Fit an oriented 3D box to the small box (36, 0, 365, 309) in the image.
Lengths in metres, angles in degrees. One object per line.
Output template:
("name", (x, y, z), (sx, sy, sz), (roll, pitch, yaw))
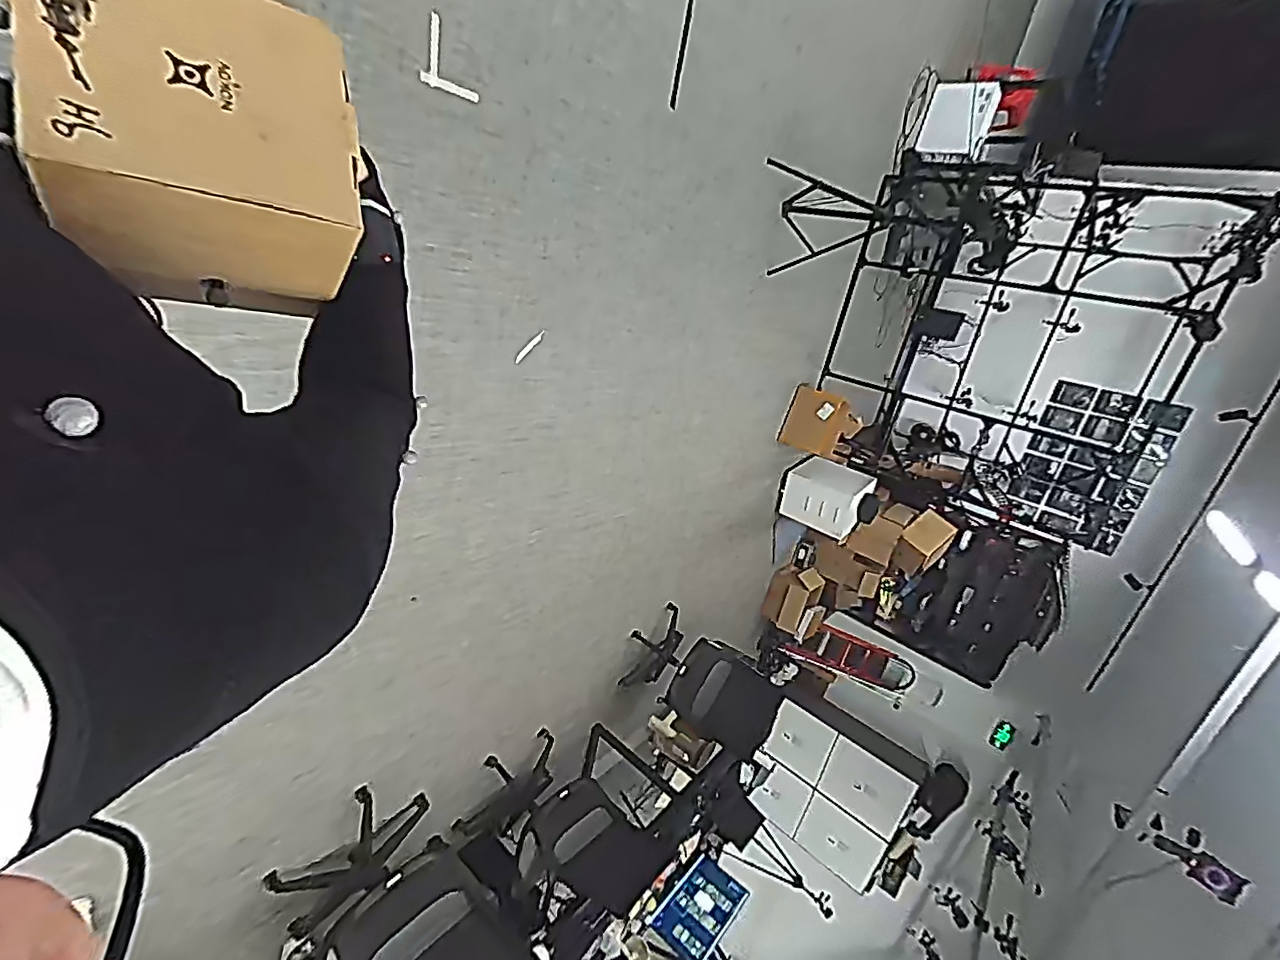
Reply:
("small box", (-0.342, -0.256, 0.435), (0.179, 0.176, 0.168), (-3, 80, -40))
